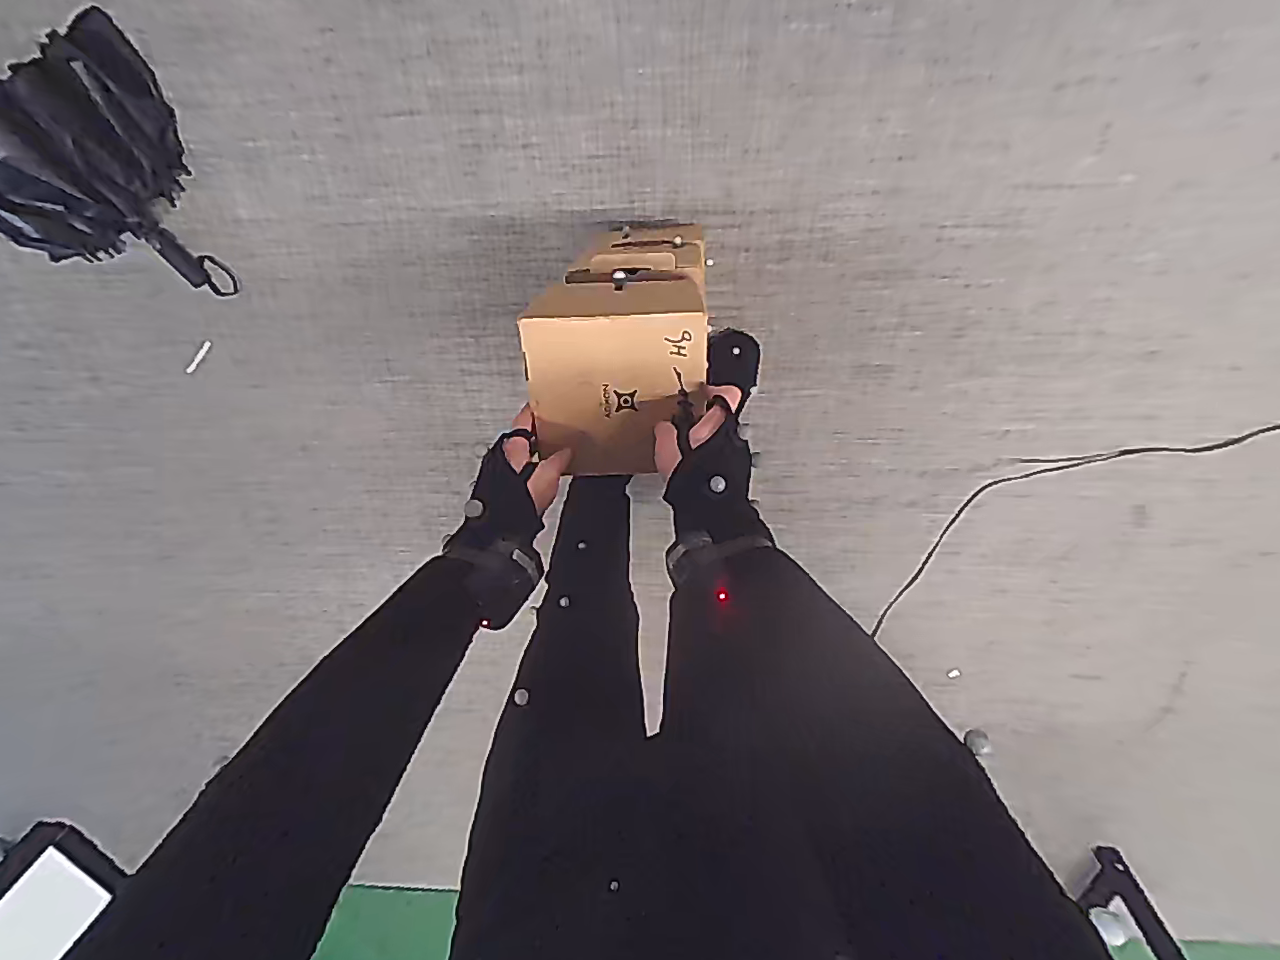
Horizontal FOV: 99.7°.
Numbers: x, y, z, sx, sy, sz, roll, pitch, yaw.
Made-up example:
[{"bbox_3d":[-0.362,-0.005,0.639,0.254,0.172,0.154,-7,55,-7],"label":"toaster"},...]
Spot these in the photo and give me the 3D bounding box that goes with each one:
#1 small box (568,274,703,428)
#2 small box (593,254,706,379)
[{"bbox_3d":[0.003,-0.188,0.759,0.168,0.176,0.179,-1,120,6],"label":"small box"},{"bbox_3d":[0.022,-0.273,0.899,0.168,0.176,0.179,-2,120,7],"label":"small box"}]
